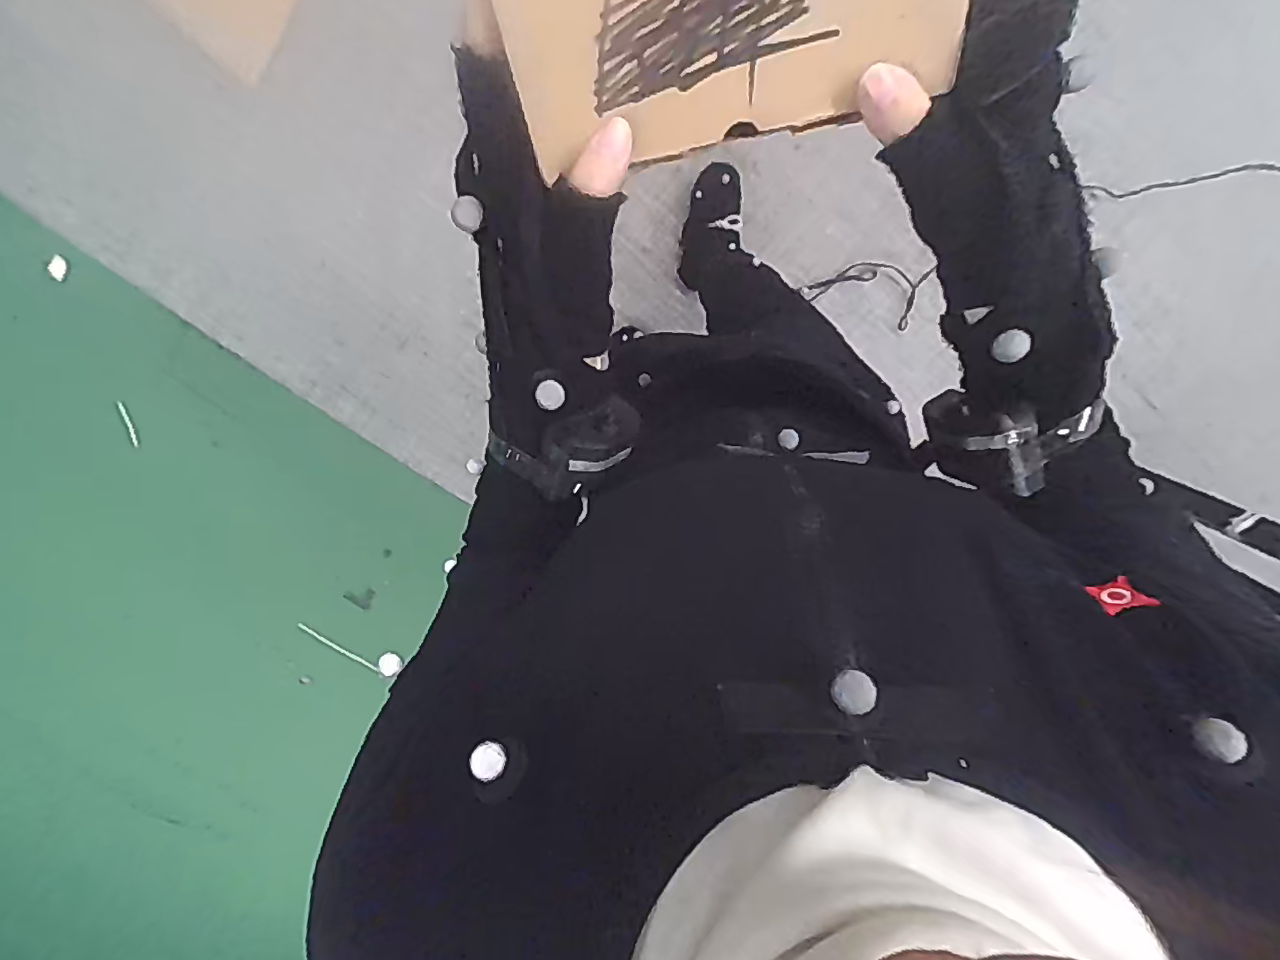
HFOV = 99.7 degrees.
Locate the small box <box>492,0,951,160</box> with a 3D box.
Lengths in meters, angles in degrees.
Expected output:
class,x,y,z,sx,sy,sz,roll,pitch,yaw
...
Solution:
class,x,y,z,sx,sy,sz,roll,pitch,yaw
small box,0.019,-0.262,0.218,0.168,0.176,0.179,-10,133,6
